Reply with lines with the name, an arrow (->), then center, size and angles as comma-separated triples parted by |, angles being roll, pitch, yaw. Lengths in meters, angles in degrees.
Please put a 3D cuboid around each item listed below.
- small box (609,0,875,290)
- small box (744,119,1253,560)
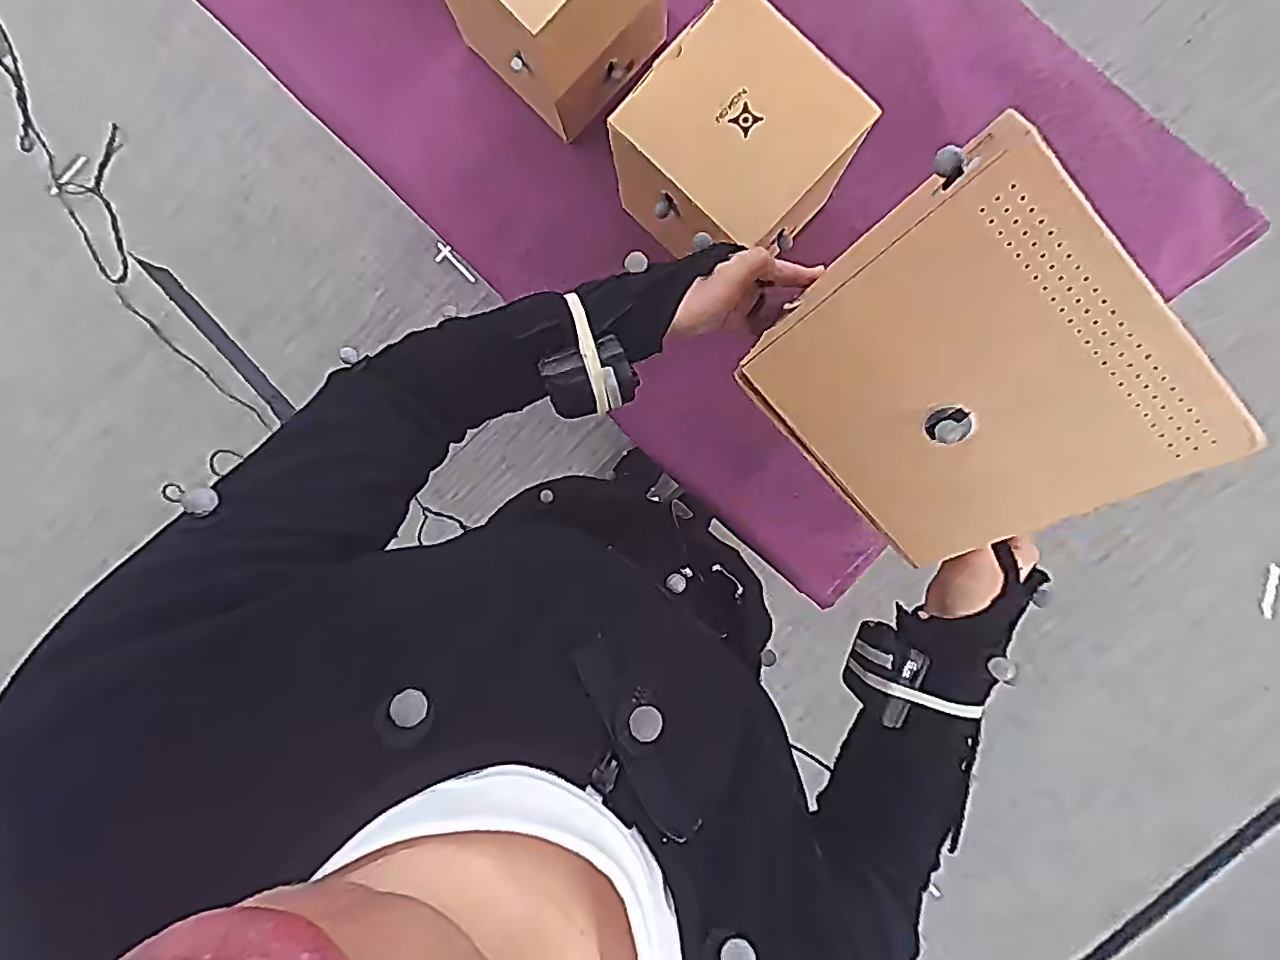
small box -> 0.094, -0.320, 0.552 | 0.179, 0.176, 0.168 | 44, 94, 1
small box -> 0.201, -0.088, 0.339 | 0.179, 0.168, 0.176 | 46, 133, -6
